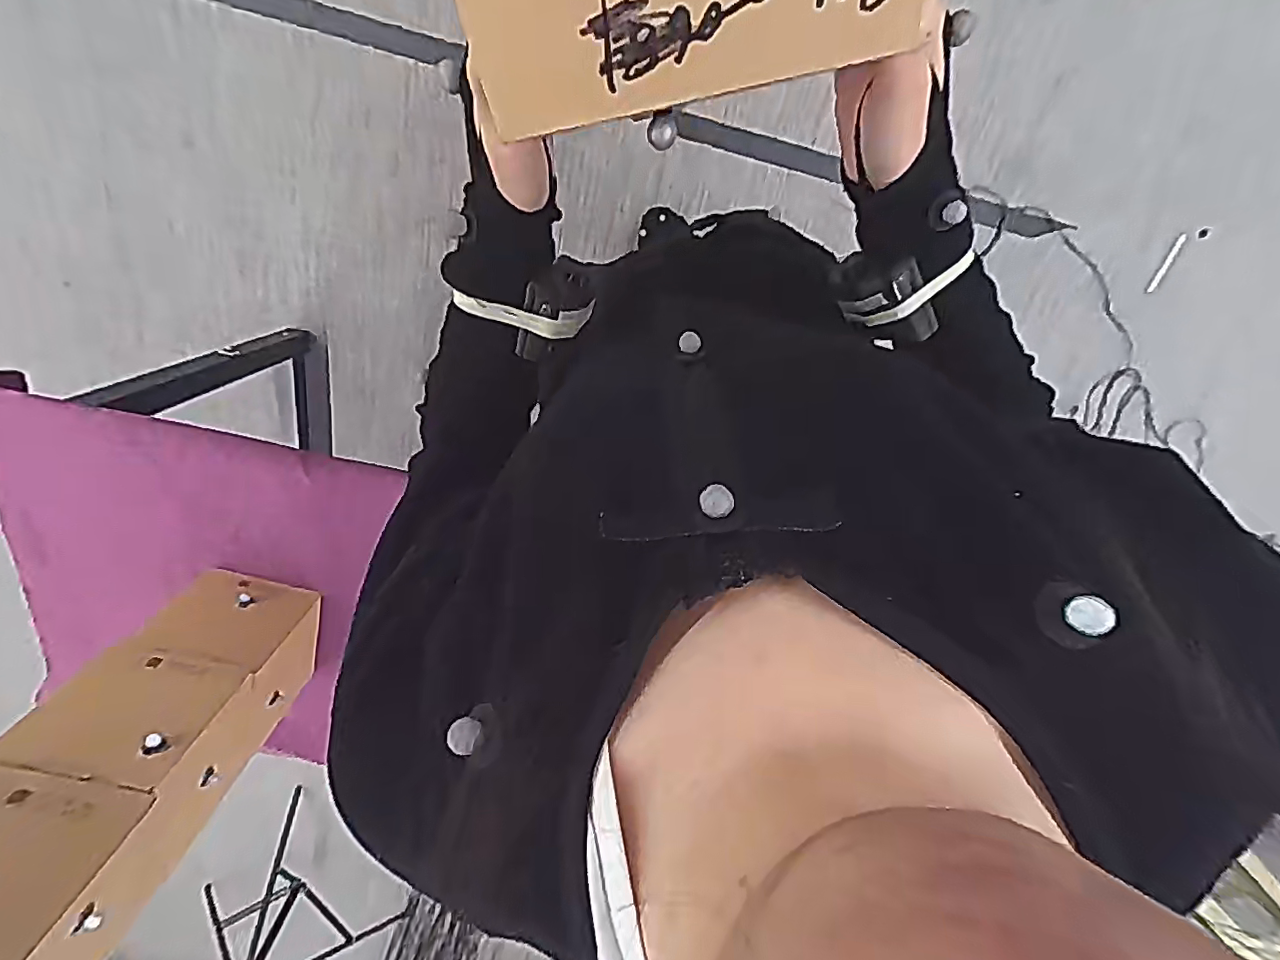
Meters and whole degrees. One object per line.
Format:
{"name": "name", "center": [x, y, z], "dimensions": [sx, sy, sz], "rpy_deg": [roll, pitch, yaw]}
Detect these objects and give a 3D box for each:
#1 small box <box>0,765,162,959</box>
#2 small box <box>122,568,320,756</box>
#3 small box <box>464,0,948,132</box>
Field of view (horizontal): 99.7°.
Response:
{"name": "small box", "center": [-0.590, 0.400, 0.498], "dimensions": [0.168, 0.176, 0.179], "rpy_deg": [19, 115, -8]}
{"name": "small box", "center": [-0.599, 0.262, 0.794], "dimensions": [0.168, 0.176, 0.179], "rpy_deg": [16, 114, -9]}
{"name": "small box", "center": [0.016, -0.259, 0.218], "dimensions": [0.168, 0.176, 0.179], "rpy_deg": [-6, 125, 10]}
